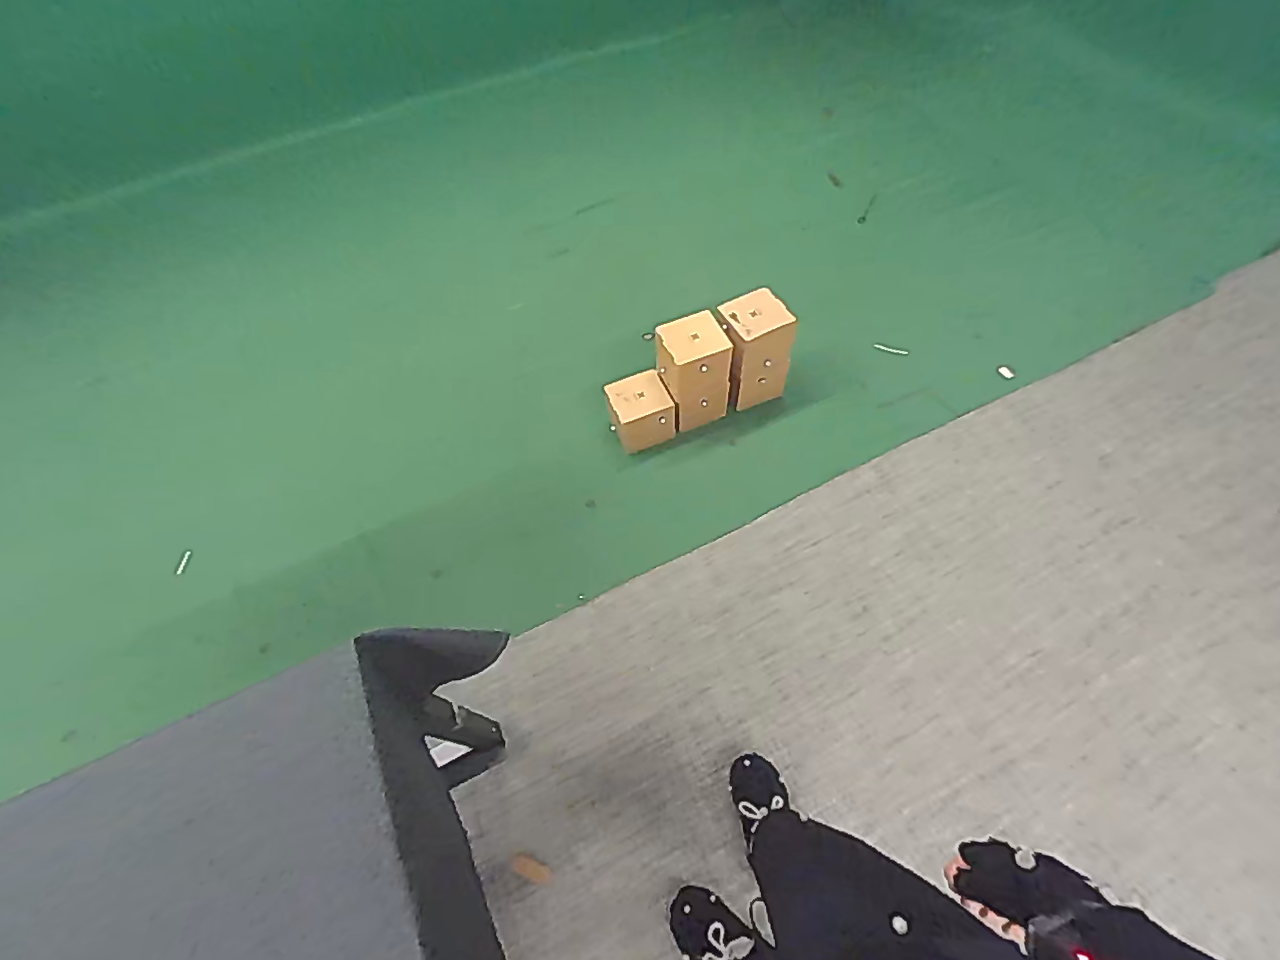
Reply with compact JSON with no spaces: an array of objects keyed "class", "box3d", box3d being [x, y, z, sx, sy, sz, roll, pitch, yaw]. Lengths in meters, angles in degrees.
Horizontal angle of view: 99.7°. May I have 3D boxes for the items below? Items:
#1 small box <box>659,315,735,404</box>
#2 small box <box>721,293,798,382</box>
[{"class":"small box","box3d":[0.167,-0.359,1.628,0.179,0.176,0.168,-20,60,-7]},{"class":"small box","box3d":[0.352,-0.433,1.657,0.179,0.176,0.168,-24,60,-11]}]
